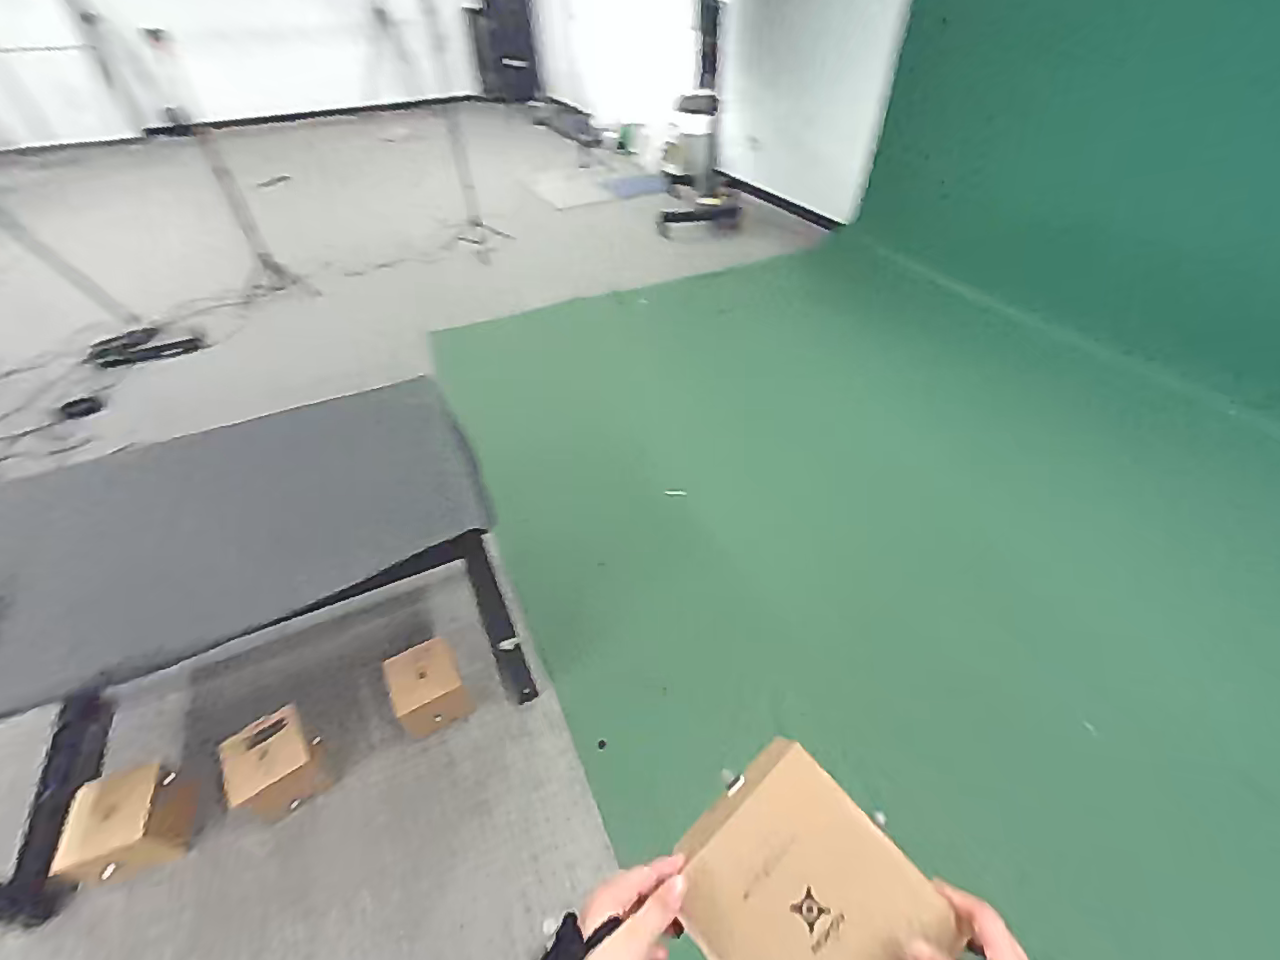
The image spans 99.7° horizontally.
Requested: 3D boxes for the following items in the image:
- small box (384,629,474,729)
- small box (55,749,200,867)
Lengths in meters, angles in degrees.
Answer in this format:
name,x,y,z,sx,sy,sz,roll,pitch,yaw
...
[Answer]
name,x,y,z,sx,sy,sz,roll,pitch,yaw
small box,-0.569,0.547,1.470,0.168,0.176,0.179,-22,48,-21
small box,-1.176,0.770,1.260,0.168,0.176,0.179,-16,45,-14
